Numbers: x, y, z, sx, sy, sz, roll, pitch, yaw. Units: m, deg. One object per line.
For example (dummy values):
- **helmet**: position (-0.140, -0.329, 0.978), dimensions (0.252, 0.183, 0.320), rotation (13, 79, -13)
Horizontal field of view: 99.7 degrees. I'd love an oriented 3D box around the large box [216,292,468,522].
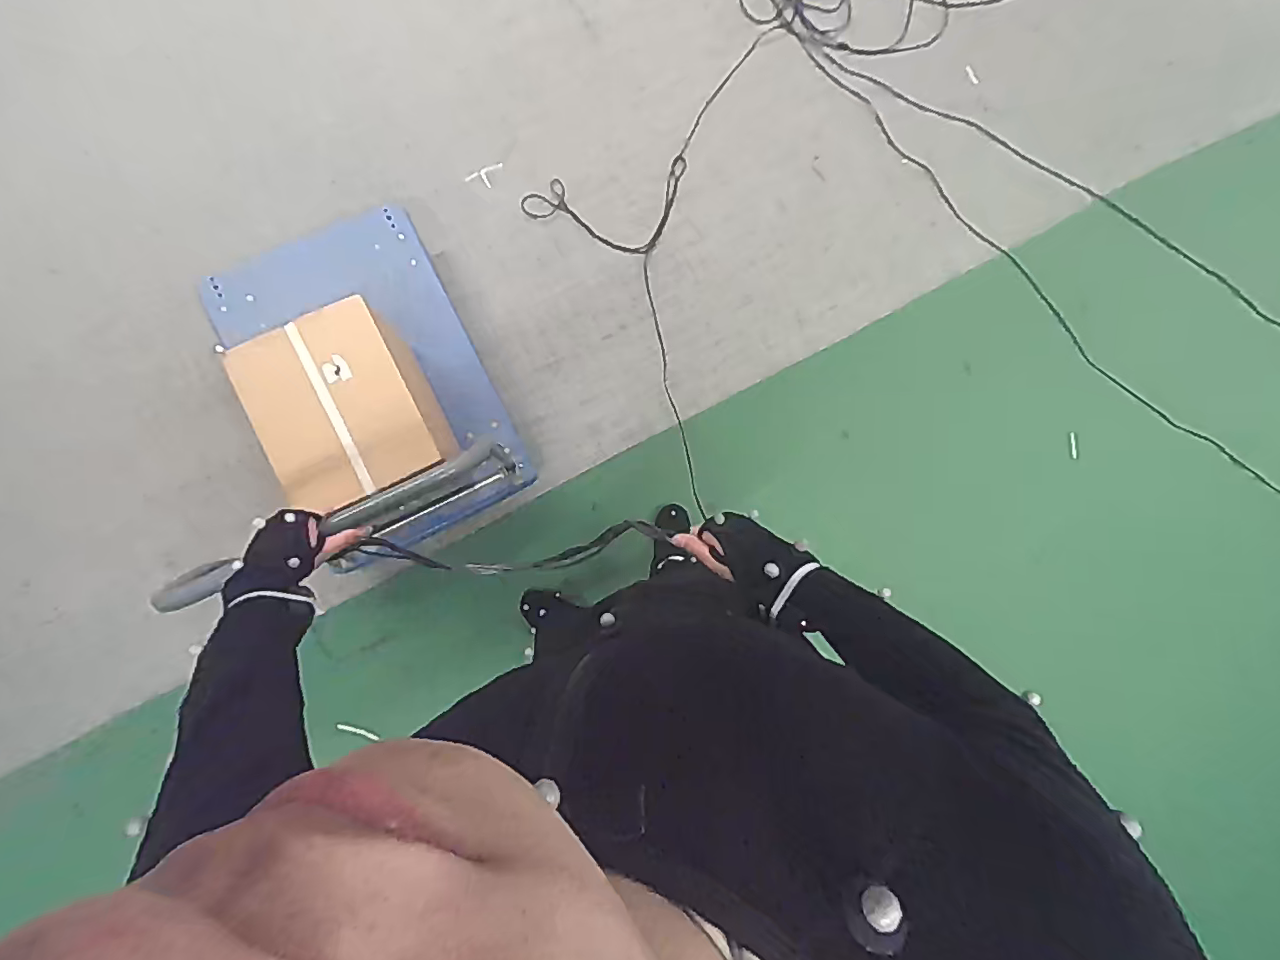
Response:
- **large box**: position (-0.661, -0.146, 1.269), dimensions (0.320, 0.320, 0.408), rotation (-27, 88, -8)
